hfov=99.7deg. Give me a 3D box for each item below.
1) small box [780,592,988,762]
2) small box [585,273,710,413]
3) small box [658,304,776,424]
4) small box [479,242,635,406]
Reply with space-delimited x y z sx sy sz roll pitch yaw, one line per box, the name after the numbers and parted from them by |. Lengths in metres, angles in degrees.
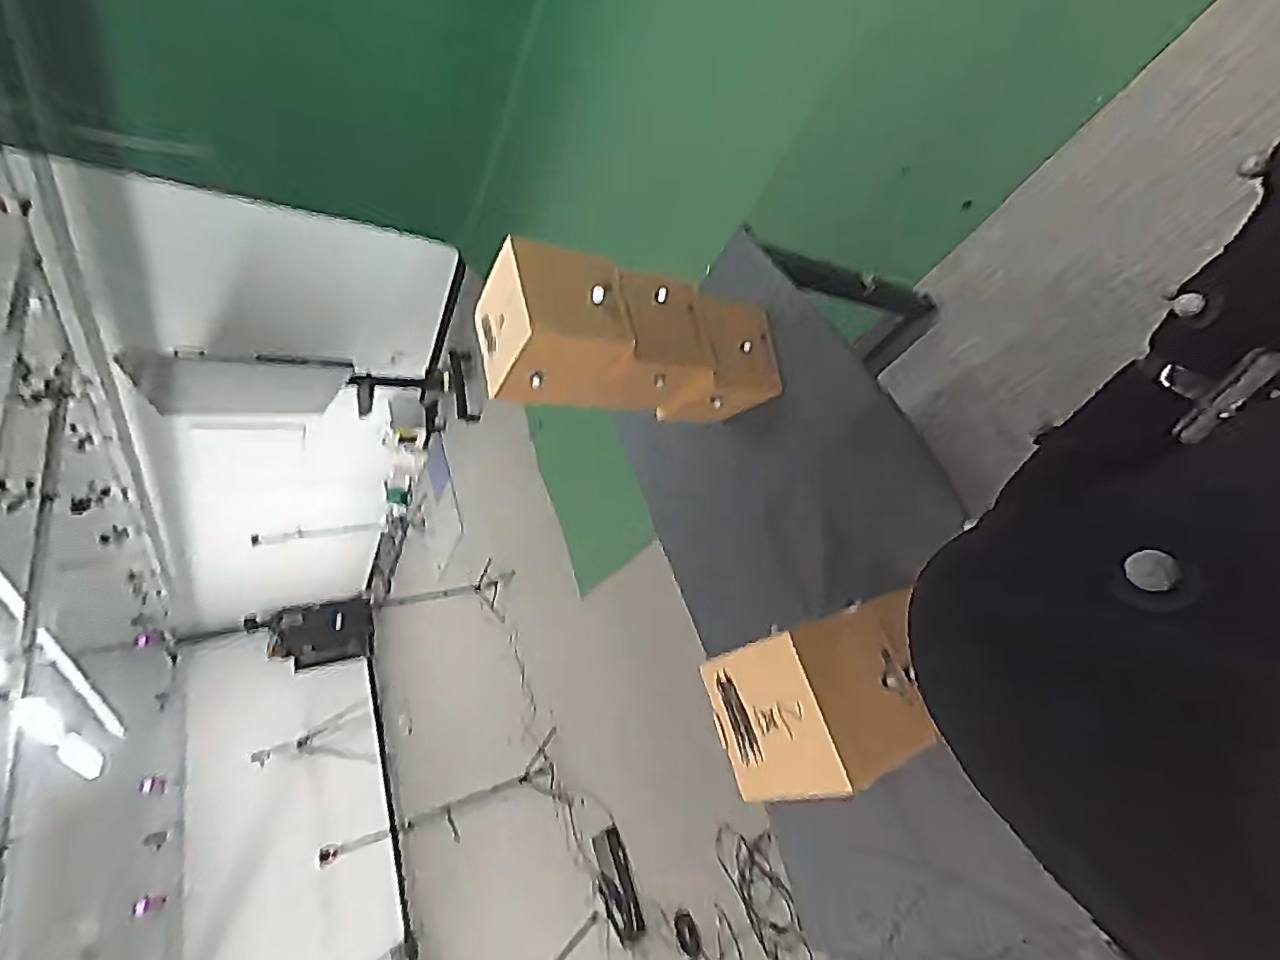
0.344 0.278 0.774 0.179 0.176 0.168 -51 53 44 | small box
0.003 -0.223 0.927 0.179 0.176 0.168 -32 66 53 | small box
0.137 -0.209 1.018 0.179 0.176 0.168 -23 73 55 | small box
-0.132 -0.224 0.831 0.179 0.176 0.168 -39 61 49 | small box
